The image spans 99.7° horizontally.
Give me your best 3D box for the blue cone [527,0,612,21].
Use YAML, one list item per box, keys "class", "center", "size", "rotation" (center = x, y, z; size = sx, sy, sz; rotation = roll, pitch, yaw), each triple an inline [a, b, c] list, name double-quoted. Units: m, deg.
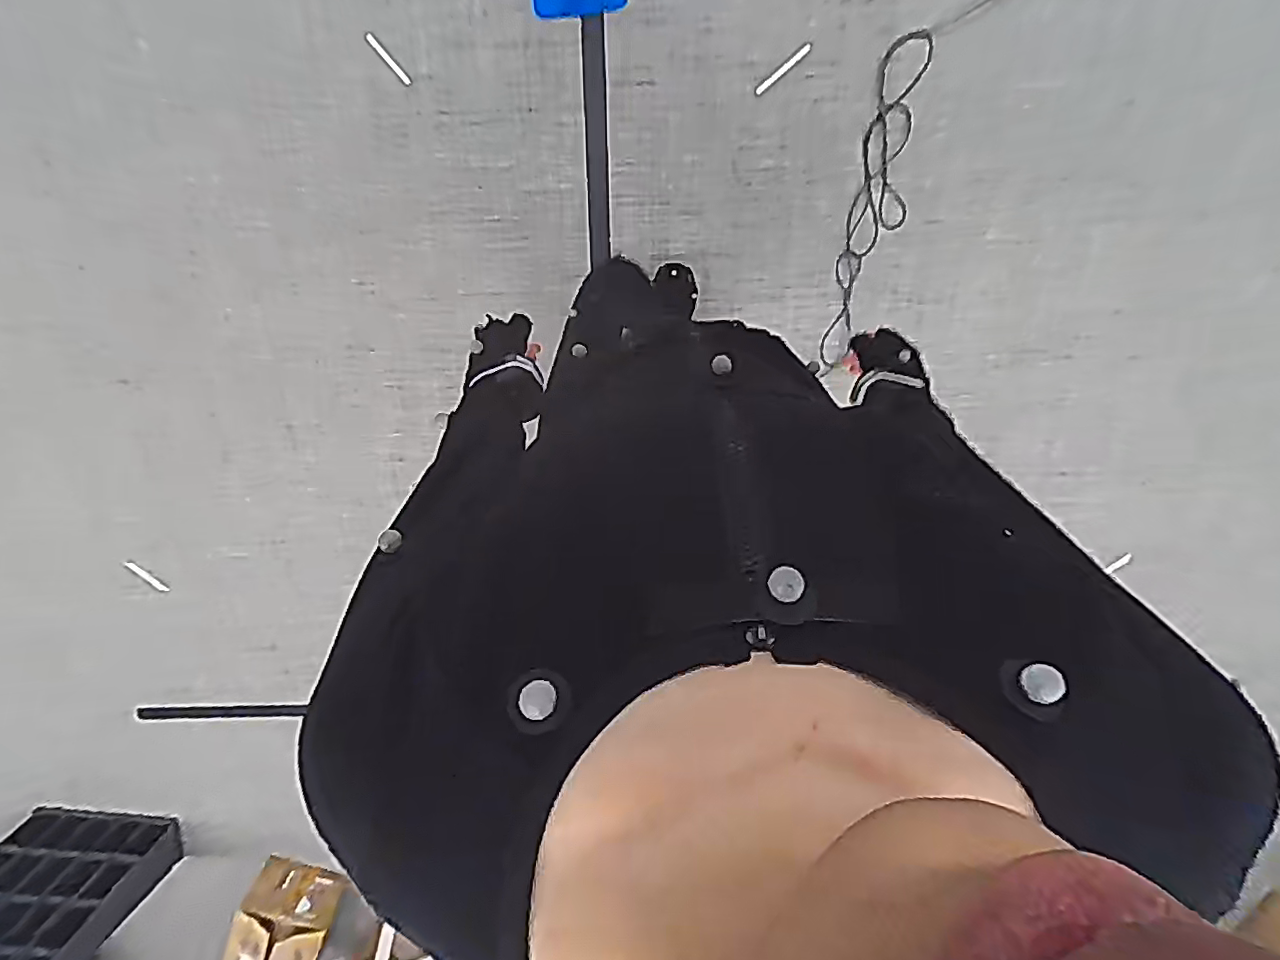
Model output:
- class: "blue cone"
  center: [-0.152, -1.016, 0.959]
  size: [0.192, 0.380, 0.193]
  rotation: [-5, 110, 2]
